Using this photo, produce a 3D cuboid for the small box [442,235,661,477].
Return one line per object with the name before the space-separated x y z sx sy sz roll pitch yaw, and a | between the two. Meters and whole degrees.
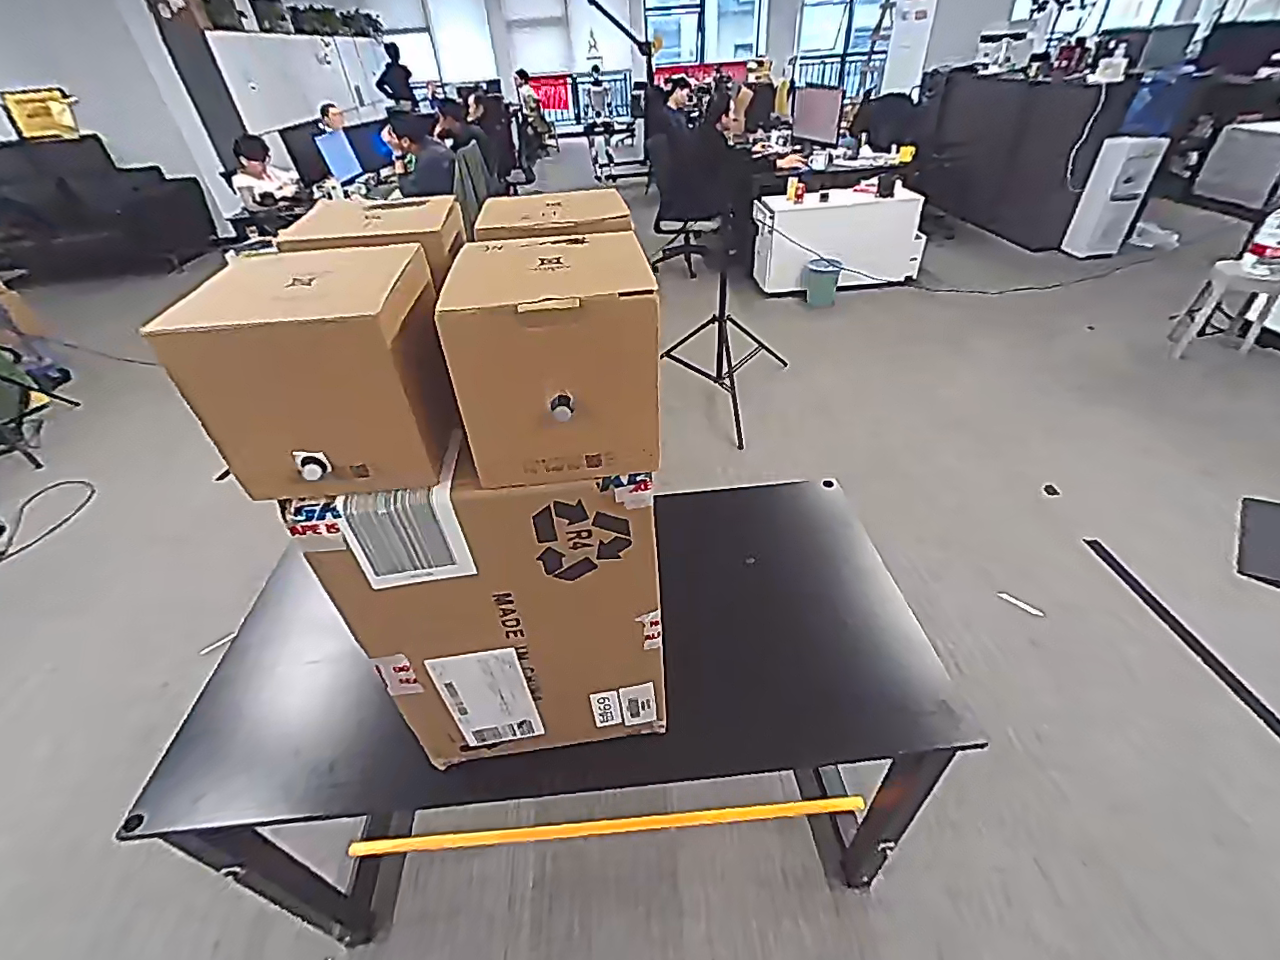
small box | -0.071 -0.114 0.508 0.168 0.176 0.179 -5 40 -5
